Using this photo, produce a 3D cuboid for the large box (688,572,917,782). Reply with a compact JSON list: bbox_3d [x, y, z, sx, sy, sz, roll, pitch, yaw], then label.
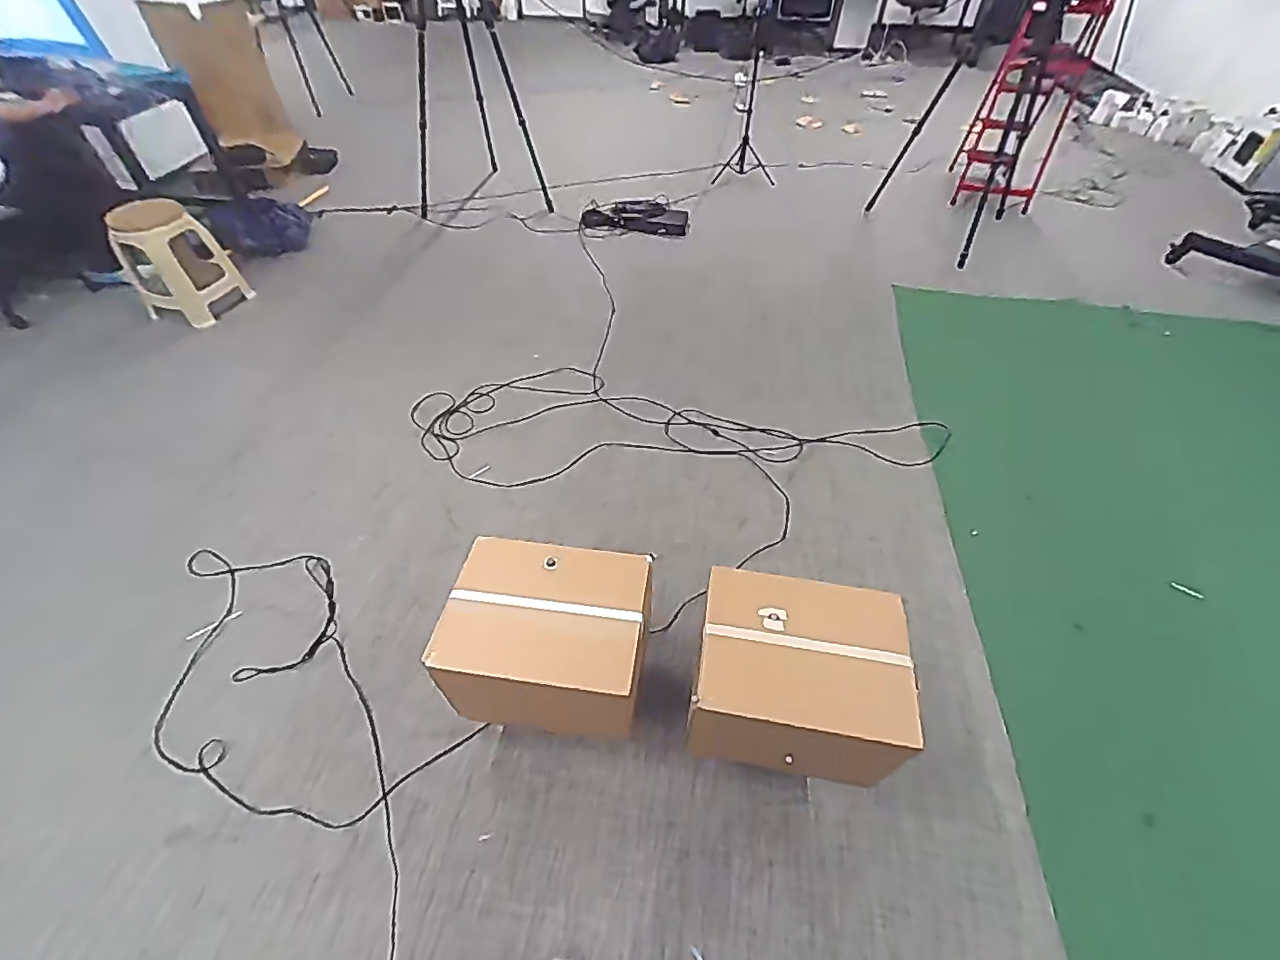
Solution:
[{"bbox_3d":[0.330,0.438,1.196,0.408,0.320,0.320,8,49,7],"label":"large box"}]
